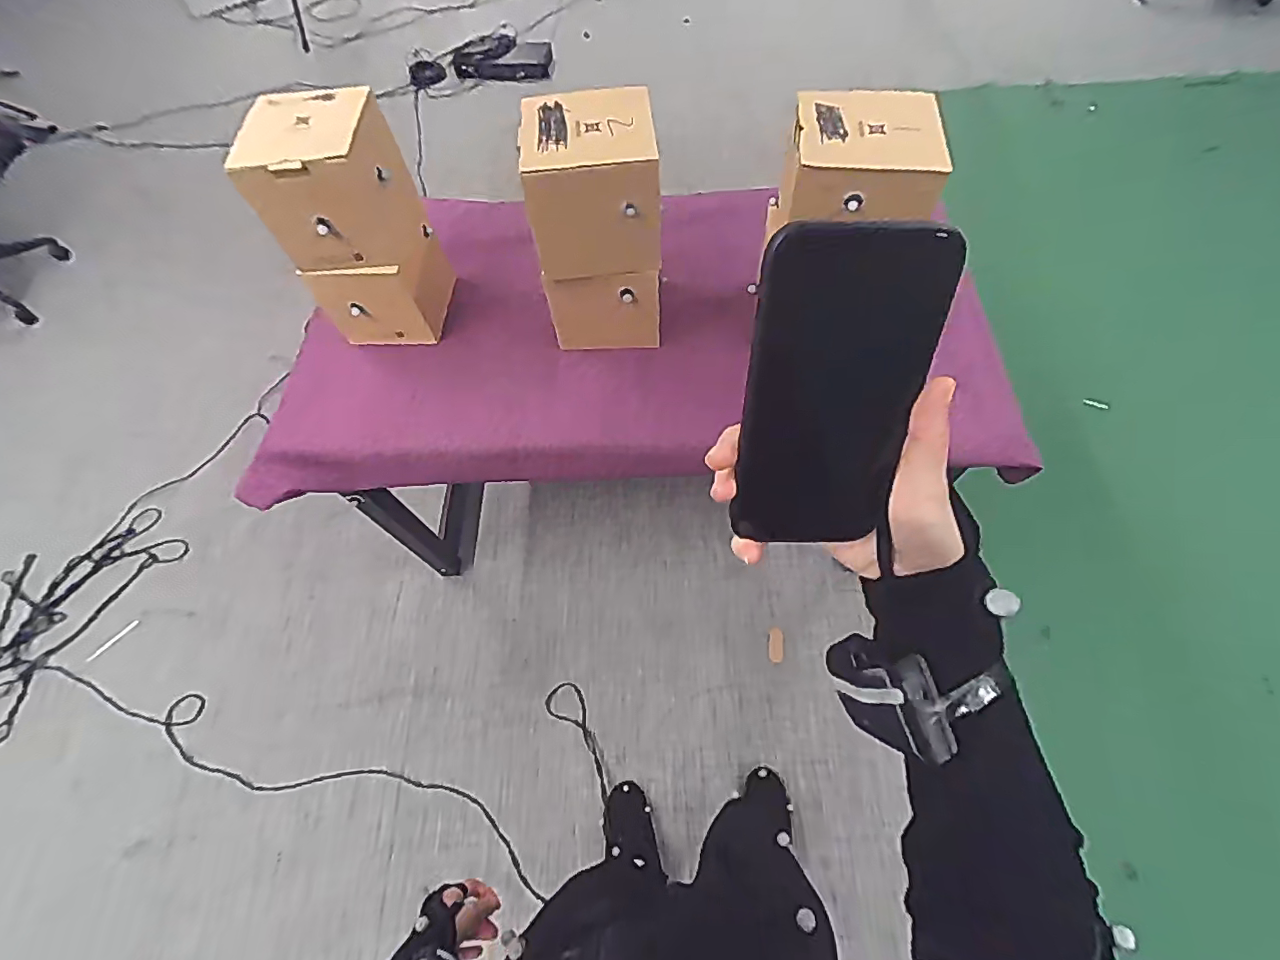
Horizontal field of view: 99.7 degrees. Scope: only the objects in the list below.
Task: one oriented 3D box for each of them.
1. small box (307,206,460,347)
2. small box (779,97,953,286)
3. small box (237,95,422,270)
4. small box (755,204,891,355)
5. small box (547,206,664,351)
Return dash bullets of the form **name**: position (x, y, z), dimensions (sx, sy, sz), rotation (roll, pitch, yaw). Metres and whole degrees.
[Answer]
- **small box**: position (-0.437, -0.351, 0.954), dimensions (0.168, 0.176, 0.179), rotation (0, 62, 4)
- **small box**: position (0.289, -0.387, 0.736), dimensions (0.179, 0.176, 0.168), rotation (5, 62, 6)
- **small box**: position (-0.447, -0.436, 0.813), dimensions (0.168, 0.176, 0.179), rotation (-4, 62, 1)
- **small box**: position (0.292, -0.323, 0.888), dimensions (0.179, 0.176, 0.168), rotation (5, 62, 8)
- **small box**: position (-0.048, -0.335, 0.917), dimensions (0.179, 0.176, 0.168), rotation (0, 62, 4)
